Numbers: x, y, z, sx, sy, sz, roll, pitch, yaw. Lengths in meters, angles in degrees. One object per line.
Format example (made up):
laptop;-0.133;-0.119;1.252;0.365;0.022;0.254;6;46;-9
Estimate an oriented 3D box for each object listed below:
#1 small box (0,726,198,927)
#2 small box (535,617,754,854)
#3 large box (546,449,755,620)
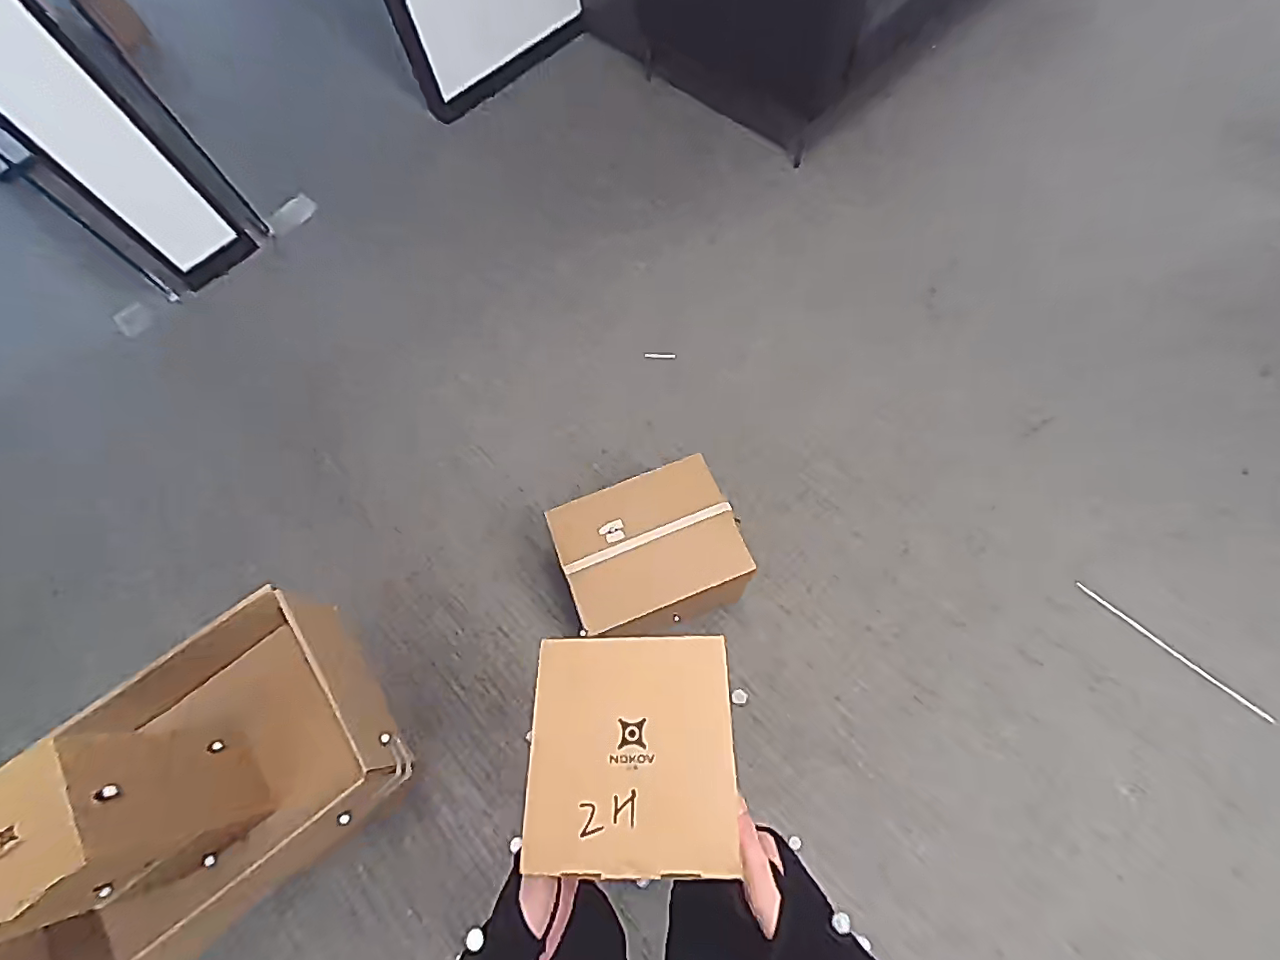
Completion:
small box;-0.774;0.465;0.746;0.168;0.176;0.179;-36;71;-10
small box;0.009;0.240;0.508;0.168;0.176;0.179;-2;59;4
large box;0.028;0.181;1.364;0.408;0.320;0.320;-22;68;-4
